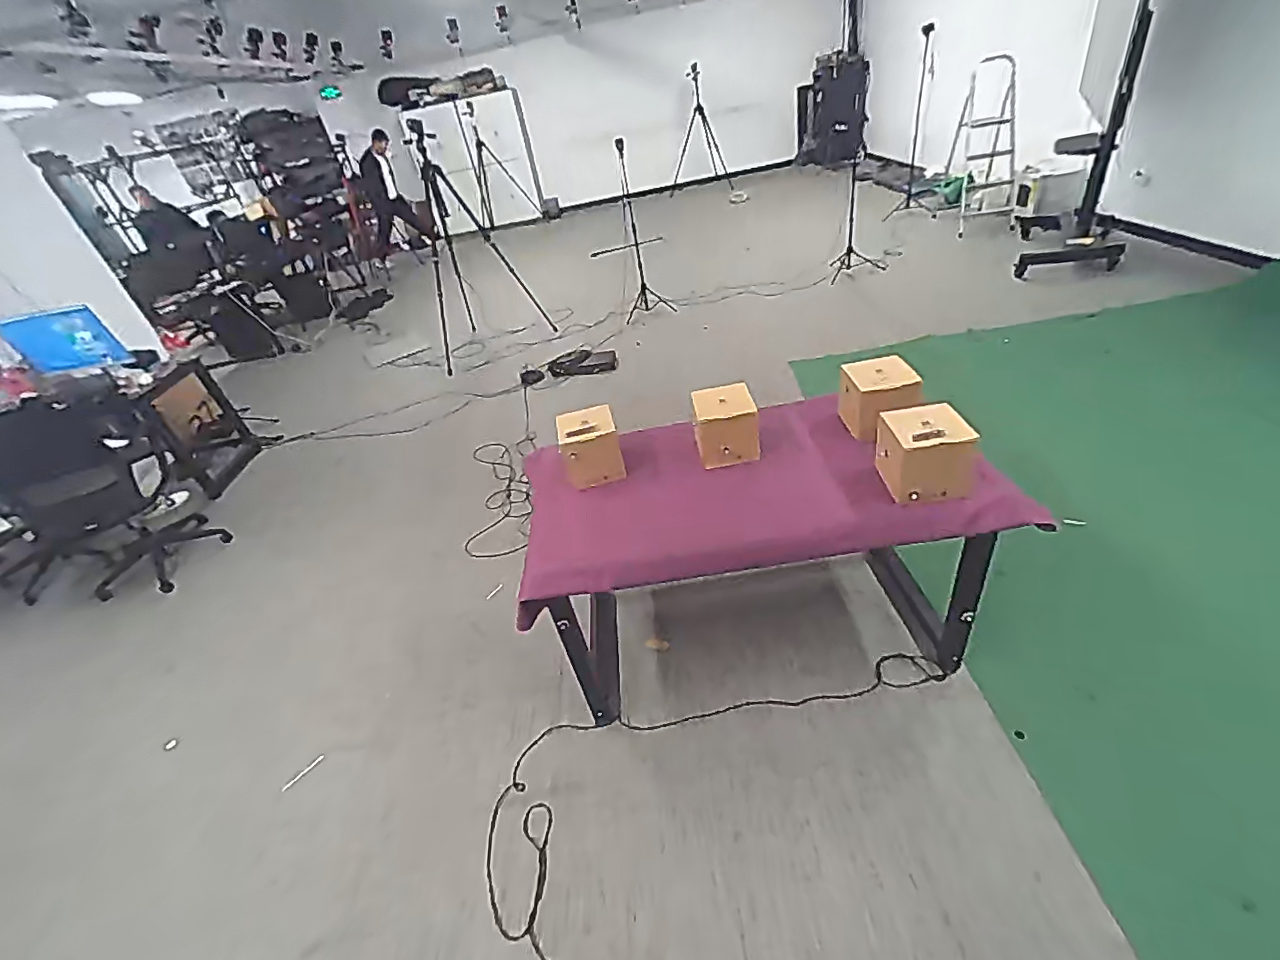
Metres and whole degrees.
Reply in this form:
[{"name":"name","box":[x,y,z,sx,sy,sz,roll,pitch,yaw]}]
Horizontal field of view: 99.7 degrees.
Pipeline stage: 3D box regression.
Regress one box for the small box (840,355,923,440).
[{"name":"small box","box":[0.683,-0.237,1.556,0.168,0.176,0.179,-10,37,5]}]

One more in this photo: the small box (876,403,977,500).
[{"name":"small box","box":[0.690,-0.063,1.322,0.168,0.176,0.179,-7,35,7]}]

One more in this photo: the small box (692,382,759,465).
[{"name":"small box","box":[0.249,-0.165,1.586,0.168,0.176,0.179,-9,38,3]}]
